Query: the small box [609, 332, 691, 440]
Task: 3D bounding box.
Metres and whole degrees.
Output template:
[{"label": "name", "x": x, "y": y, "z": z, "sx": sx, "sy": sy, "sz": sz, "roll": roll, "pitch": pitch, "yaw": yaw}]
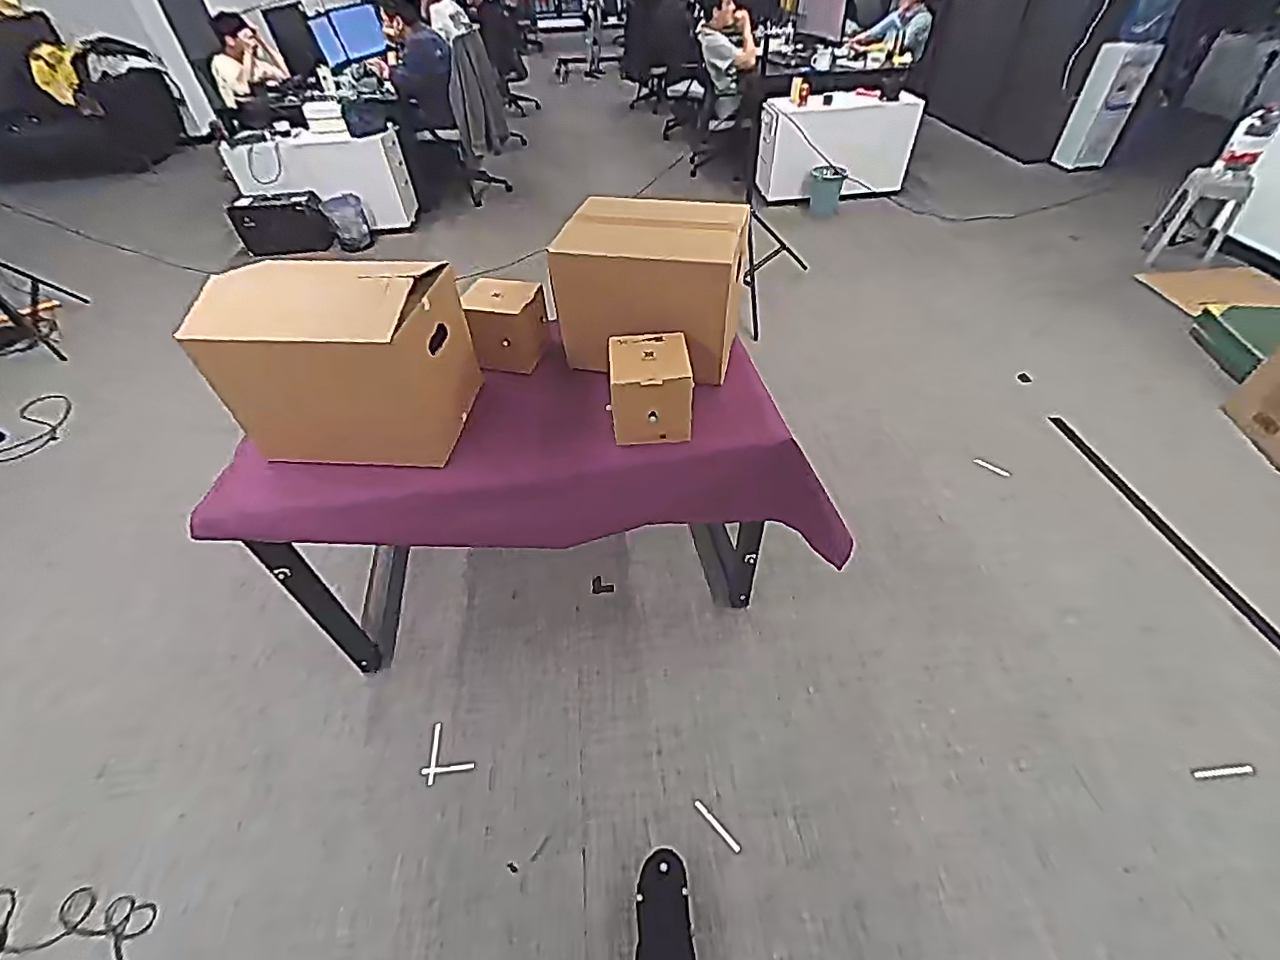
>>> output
[{"label": "small box", "x": 0.022, "y": -0.200, "z": 1.176, "sx": 0.168, "sy": 0.176, "sz": 0.179, "roll": -4, "pitch": 46, "yaw": 0}]
